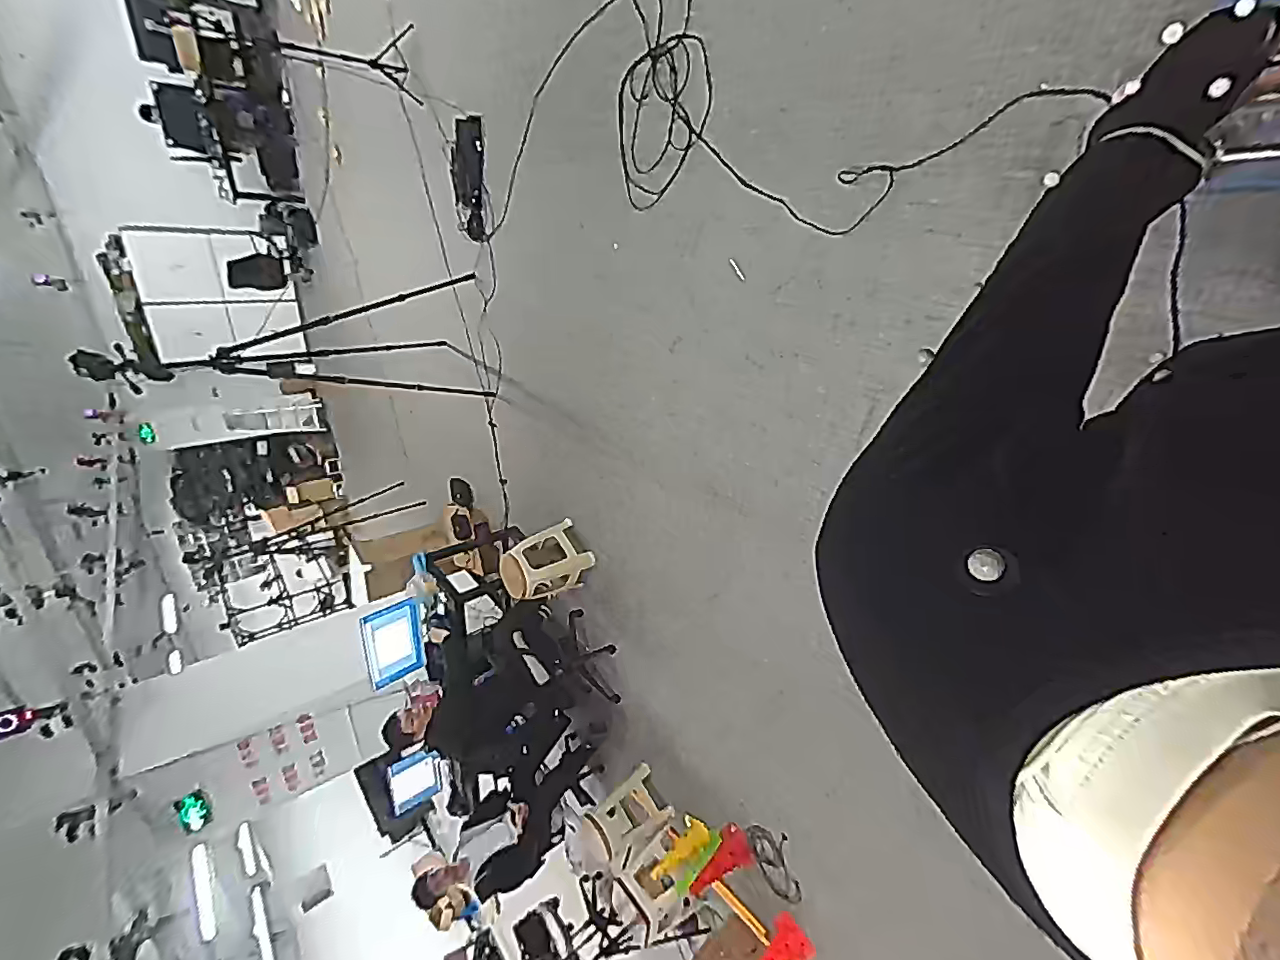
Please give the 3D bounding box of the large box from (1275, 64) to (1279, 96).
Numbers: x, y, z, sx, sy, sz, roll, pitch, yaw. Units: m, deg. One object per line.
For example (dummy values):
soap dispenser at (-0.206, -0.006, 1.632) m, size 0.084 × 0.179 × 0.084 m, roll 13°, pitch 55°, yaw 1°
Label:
large box at (1.044, -0.678, 0.618) m, size 0.320 × 0.320 × 0.408 m, roll 24°, pitch 121°, yaw 45°
